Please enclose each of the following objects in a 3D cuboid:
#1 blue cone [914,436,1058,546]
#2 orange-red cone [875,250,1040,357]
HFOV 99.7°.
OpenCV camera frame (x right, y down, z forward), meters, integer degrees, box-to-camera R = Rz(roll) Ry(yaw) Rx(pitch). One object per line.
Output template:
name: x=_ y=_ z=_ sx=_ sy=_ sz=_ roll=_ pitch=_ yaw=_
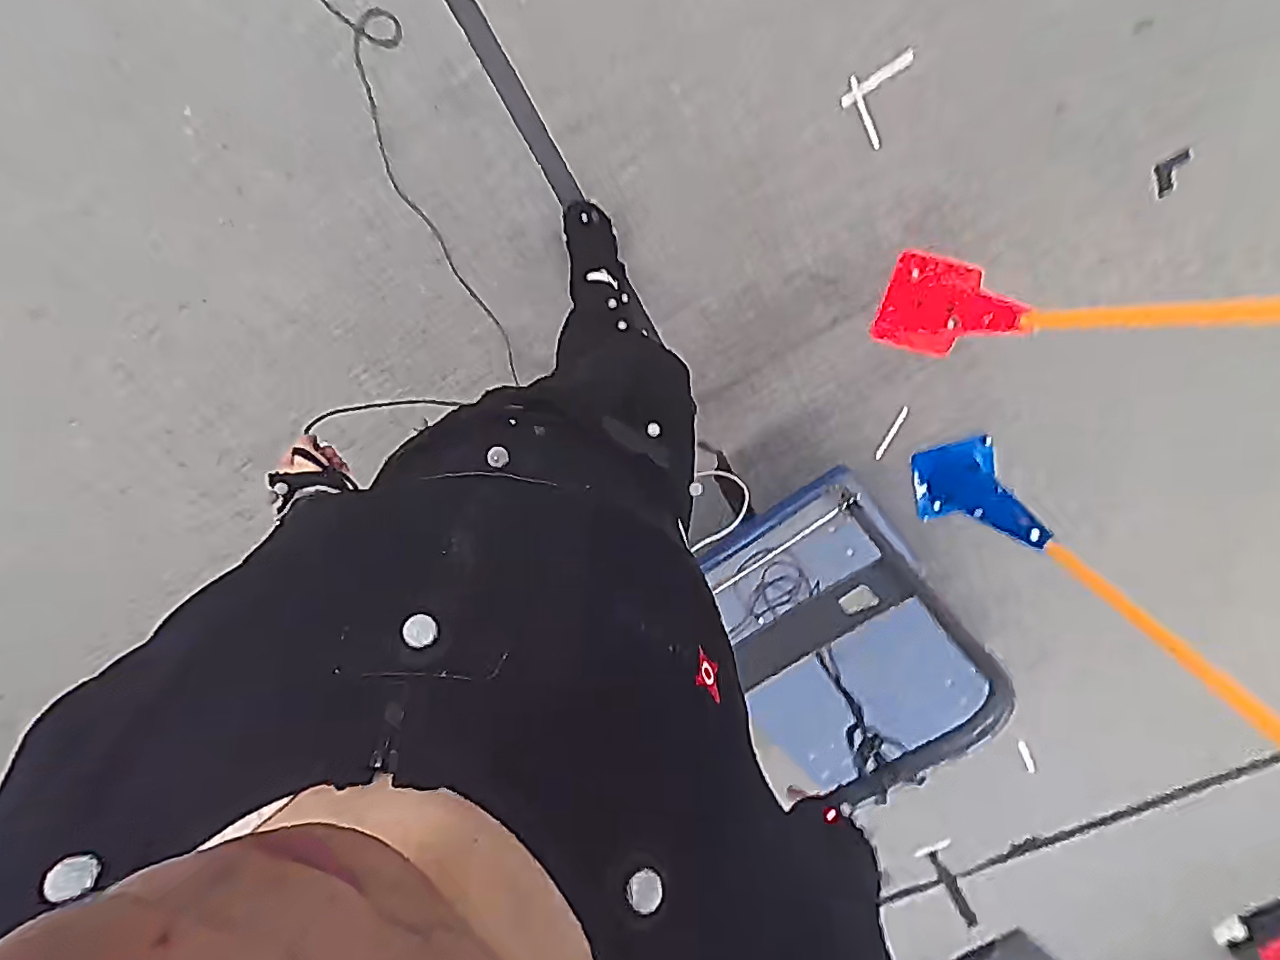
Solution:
blue cone: x=0.799 y=0.055 z=1.223 sx=0.193 sy=0.380 sz=0.192 roll=-14 pitch=110 yaw=6
orange-red cone: x=0.648 y=-0.327 z=1.055 sx=0.198 sy=0.360 sz=0.199 roll=14 pitch=112 yaw=-5
